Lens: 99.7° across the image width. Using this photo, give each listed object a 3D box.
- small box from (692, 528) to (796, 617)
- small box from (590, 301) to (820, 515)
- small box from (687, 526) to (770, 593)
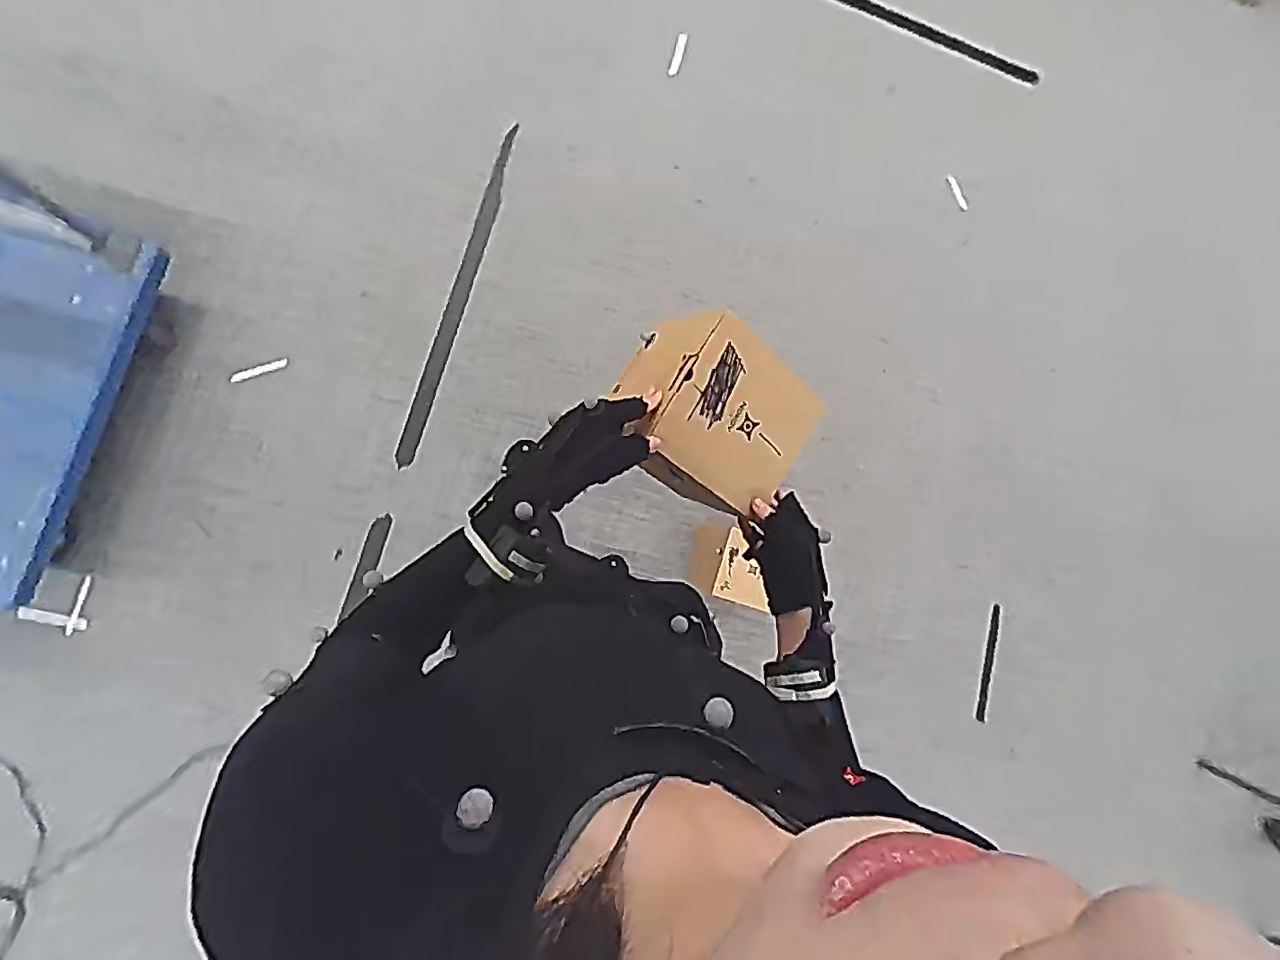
[{"bbox_3d":[0.249,0.220,1.331,0.179,0.176,0.168,20,82,-8],"label":"small box"},{"bbox_3d":[0.068,-0.081,0.644,0.179,0.176,0.168,34,83,-27],"label":"small box"},{"bbox_3d":[0.238,0.230,1.494,0.168,0.176,0.179,13,82,-9],"label":"small box"}]
